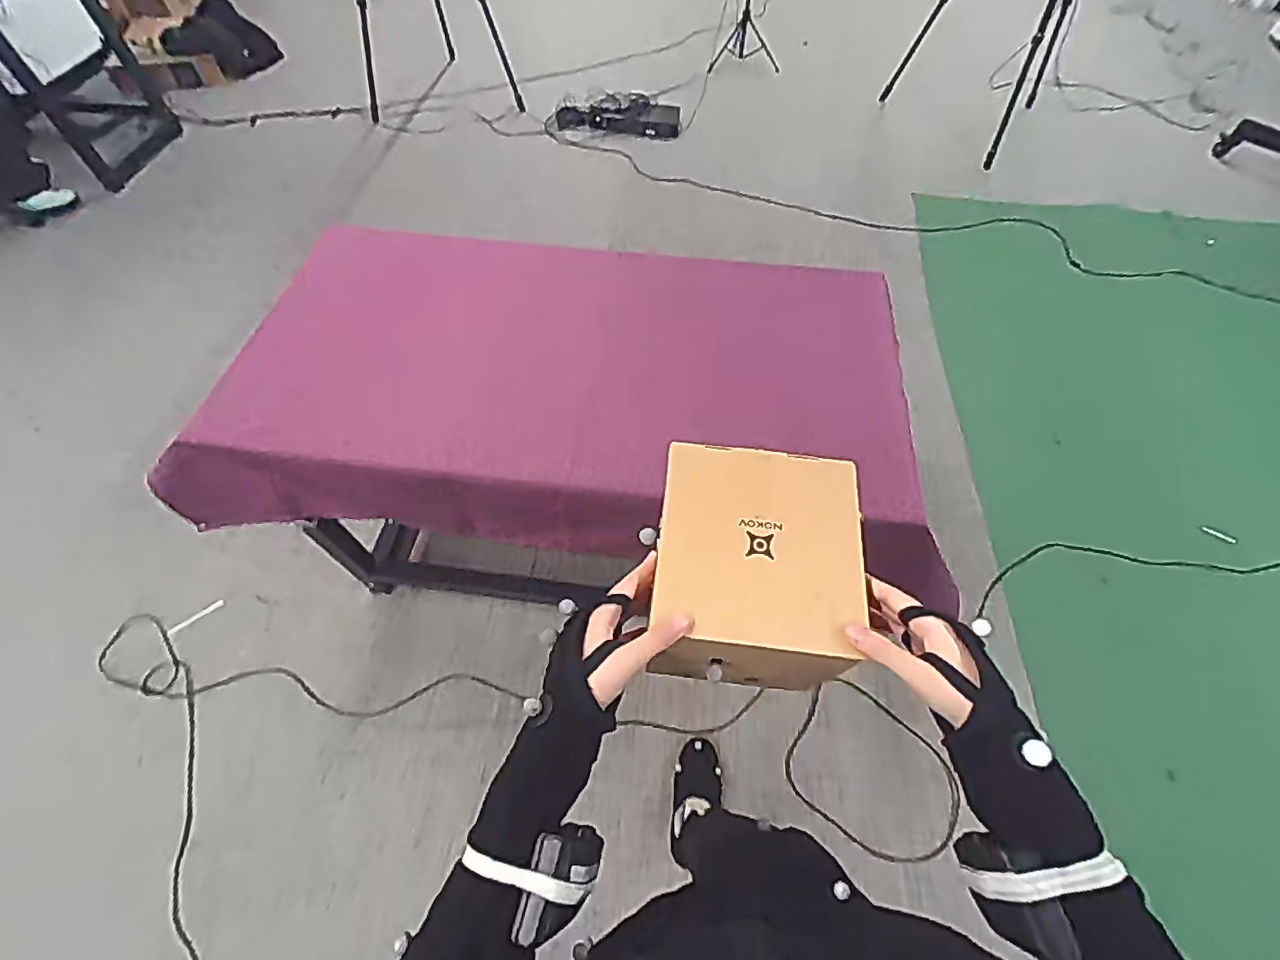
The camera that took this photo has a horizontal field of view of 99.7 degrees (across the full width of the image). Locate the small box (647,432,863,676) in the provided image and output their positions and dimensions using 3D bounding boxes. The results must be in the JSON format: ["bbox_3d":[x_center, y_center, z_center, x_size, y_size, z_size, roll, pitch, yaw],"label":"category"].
[{"bbox_3d":[0.099,0.079,0.518,0.168,0.176,0.179,7,60,3],"label":"small box"}]
